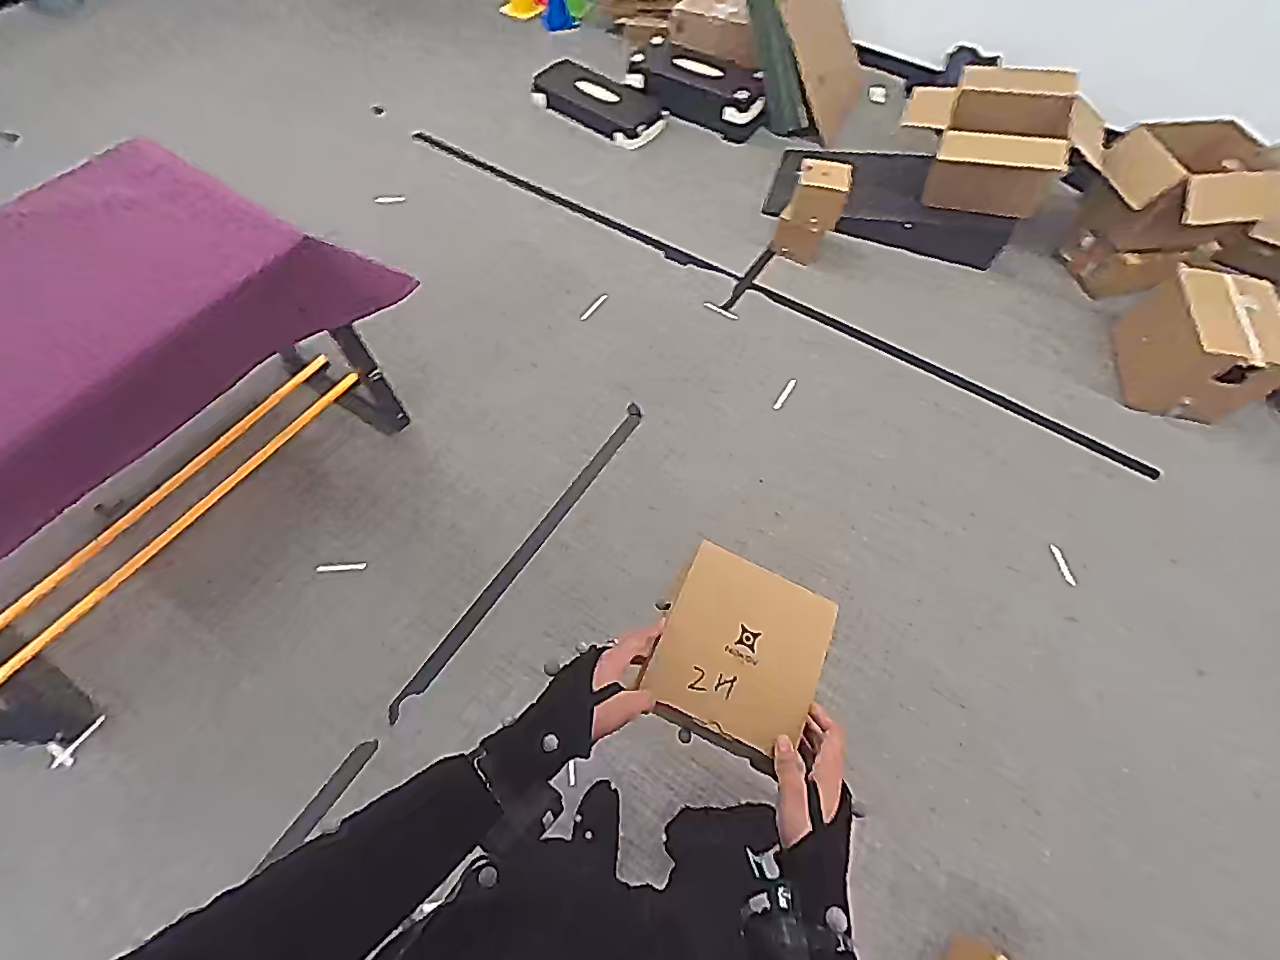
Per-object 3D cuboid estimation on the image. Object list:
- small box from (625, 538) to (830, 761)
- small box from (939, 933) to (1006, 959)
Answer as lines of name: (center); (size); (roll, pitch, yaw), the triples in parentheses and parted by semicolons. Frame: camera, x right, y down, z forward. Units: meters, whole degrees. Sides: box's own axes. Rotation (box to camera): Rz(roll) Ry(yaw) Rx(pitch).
small box: (0.091, 0.198, 0.633); (0.168, 0.176, 0.179); (25, 66, 4)
small box: (0.736, 1.115, 1.135); (0.168, 0.176, 0.179); (38, 66, 16)
